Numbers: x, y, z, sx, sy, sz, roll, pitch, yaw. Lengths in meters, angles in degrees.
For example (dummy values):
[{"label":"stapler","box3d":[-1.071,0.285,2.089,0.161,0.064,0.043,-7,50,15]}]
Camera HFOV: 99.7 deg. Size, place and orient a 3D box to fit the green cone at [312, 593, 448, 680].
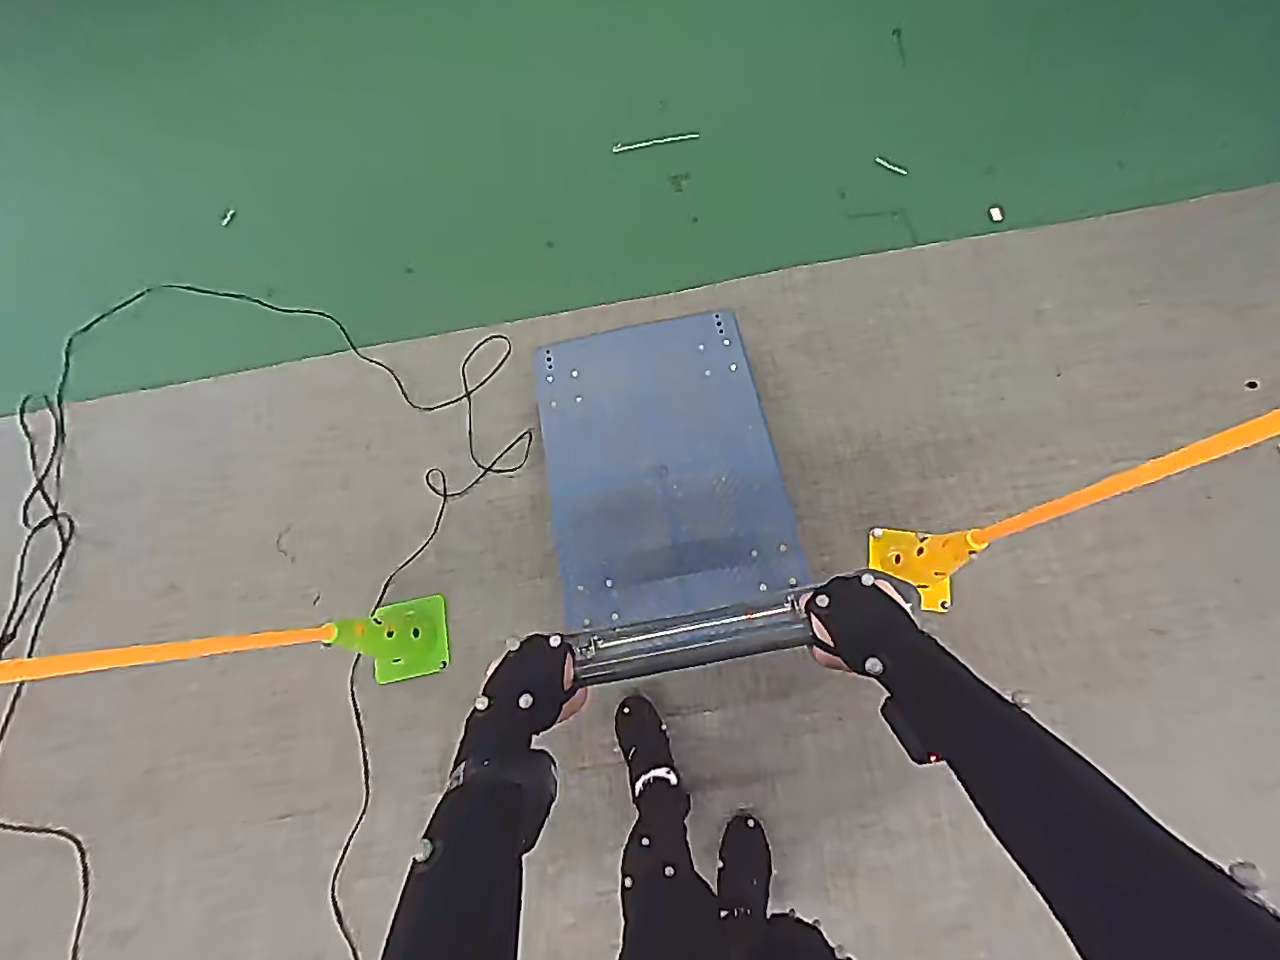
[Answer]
[{"label":"green cone","box3d":[-0.640,0.365,1.293,0.202,0.368,0.200,-14,71,2]}]
